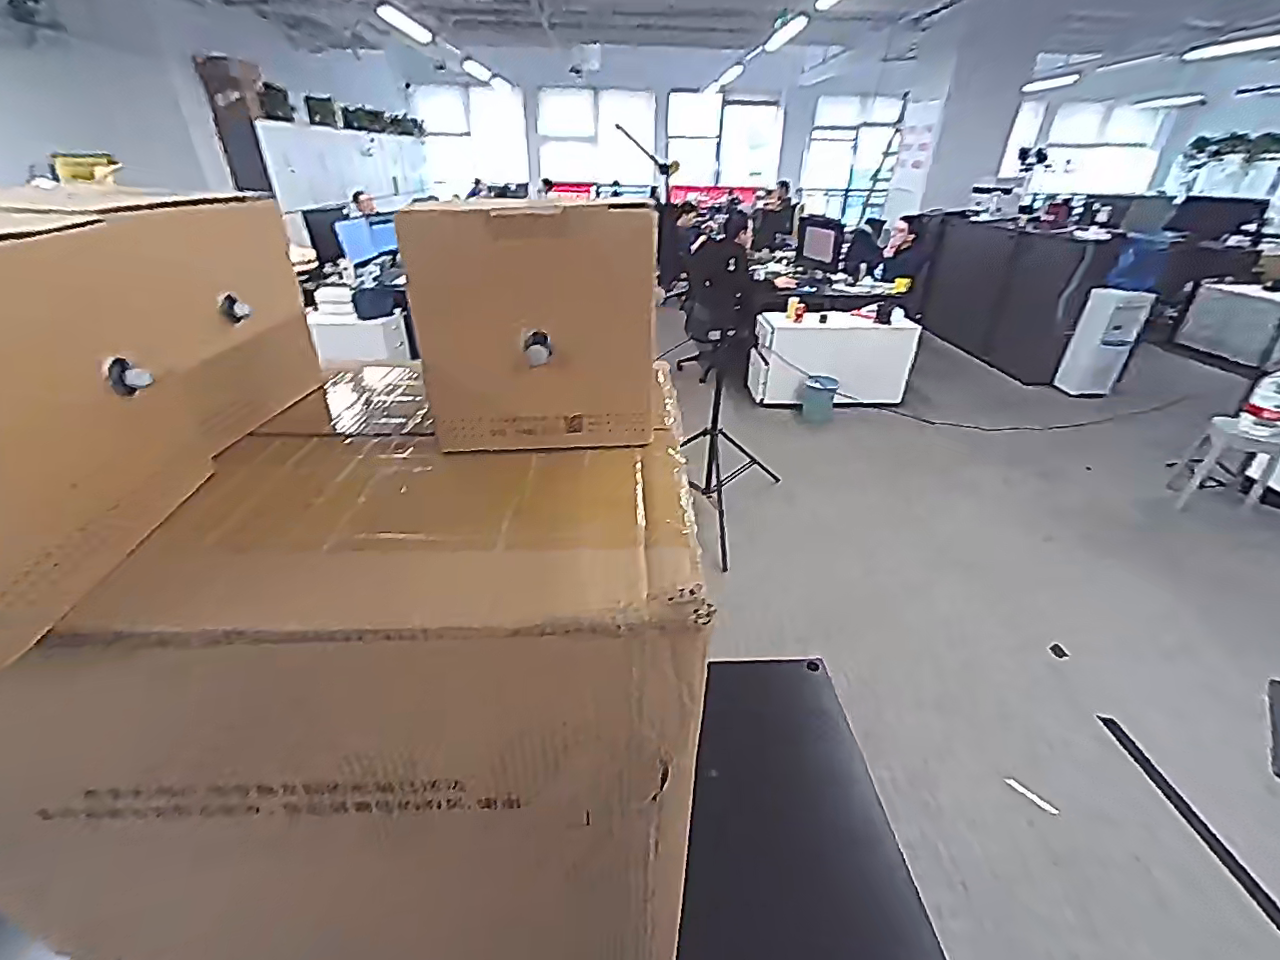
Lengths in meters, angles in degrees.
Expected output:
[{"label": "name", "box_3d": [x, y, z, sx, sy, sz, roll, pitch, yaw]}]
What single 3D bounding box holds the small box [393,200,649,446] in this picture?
[{"label": "small box", "box_3d": [-0.081, -0.135, 0.453, 0.168, 0.176, 0.179, -2, 29, -5]}]
